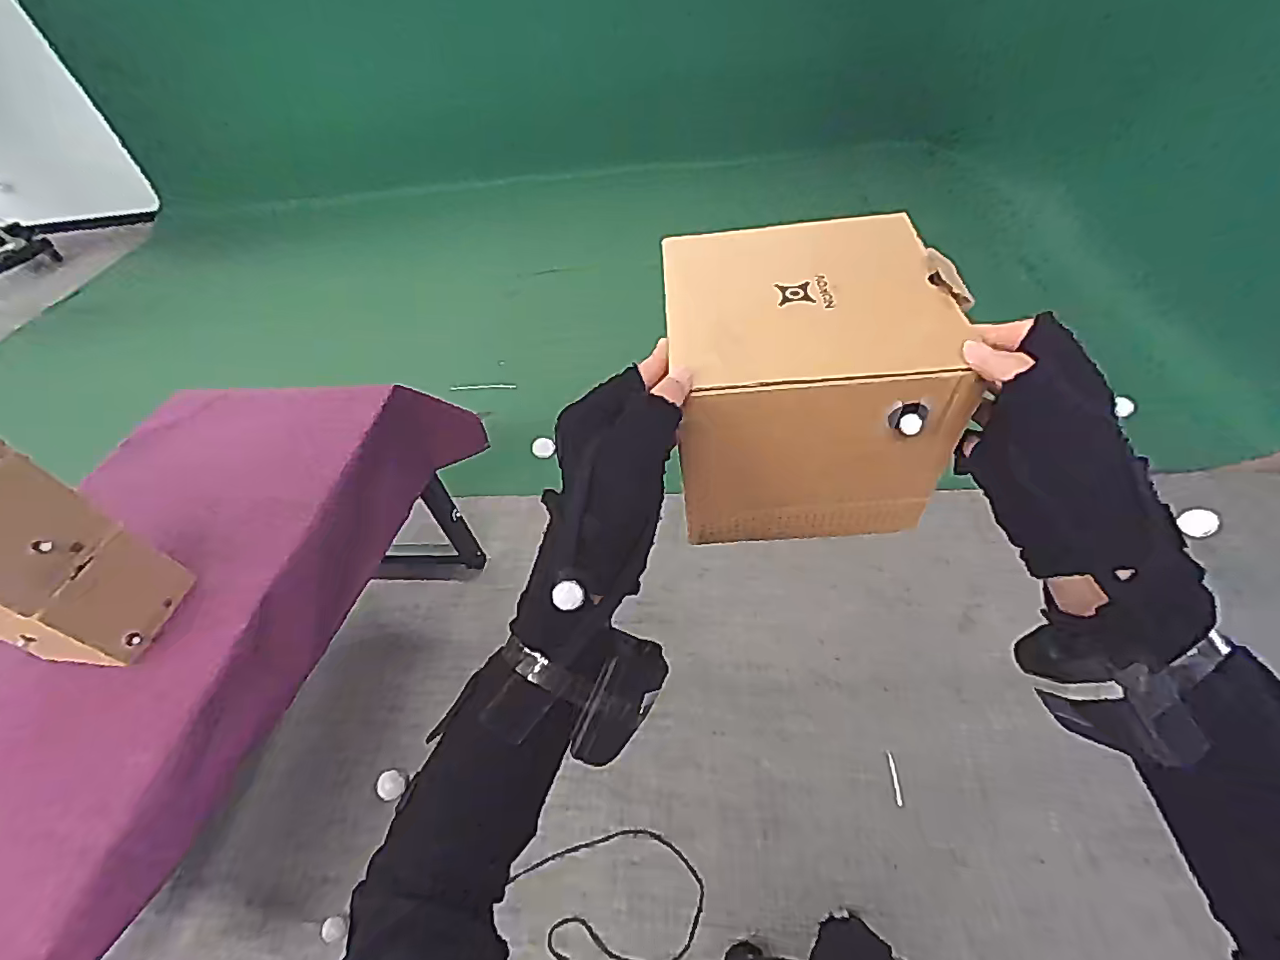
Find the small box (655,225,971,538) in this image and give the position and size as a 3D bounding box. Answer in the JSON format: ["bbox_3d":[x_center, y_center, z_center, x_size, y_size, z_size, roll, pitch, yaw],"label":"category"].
[{"bbox_3d":[0.107,-0.067,0.415,0.179,0.176,0.168,-4,52,5],"label":"small box"}]

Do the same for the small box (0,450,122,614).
[{"bbox_3d":[-0.913,0.073,0.755,0.179,0.176,0.168,1,49,10],"label":"small box"}]

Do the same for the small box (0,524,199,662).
[{"bbox_3d":[-0.885,0.182,0.876,0.179,0.176,0.168,1,48,10],"label":"small box"}]
